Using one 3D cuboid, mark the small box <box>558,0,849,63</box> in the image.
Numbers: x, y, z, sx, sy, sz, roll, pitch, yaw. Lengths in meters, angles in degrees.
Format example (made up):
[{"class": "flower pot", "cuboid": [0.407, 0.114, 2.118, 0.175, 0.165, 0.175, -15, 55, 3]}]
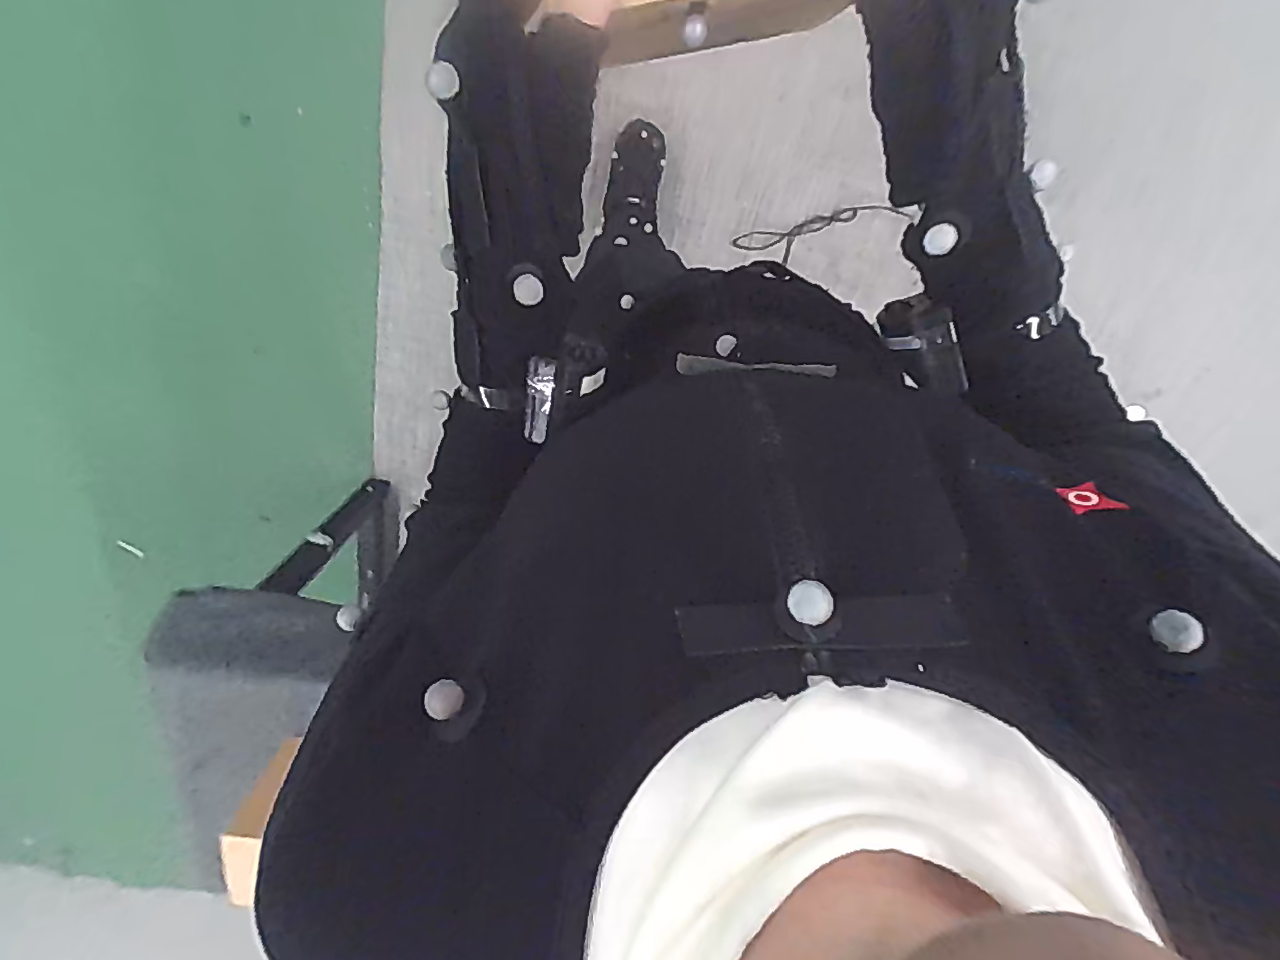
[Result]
[{"class": "small box", "cuboid": [0.030, -0.330, 0.257, 0.168, 0.176, 0.179, -6, 121, 5]}]
